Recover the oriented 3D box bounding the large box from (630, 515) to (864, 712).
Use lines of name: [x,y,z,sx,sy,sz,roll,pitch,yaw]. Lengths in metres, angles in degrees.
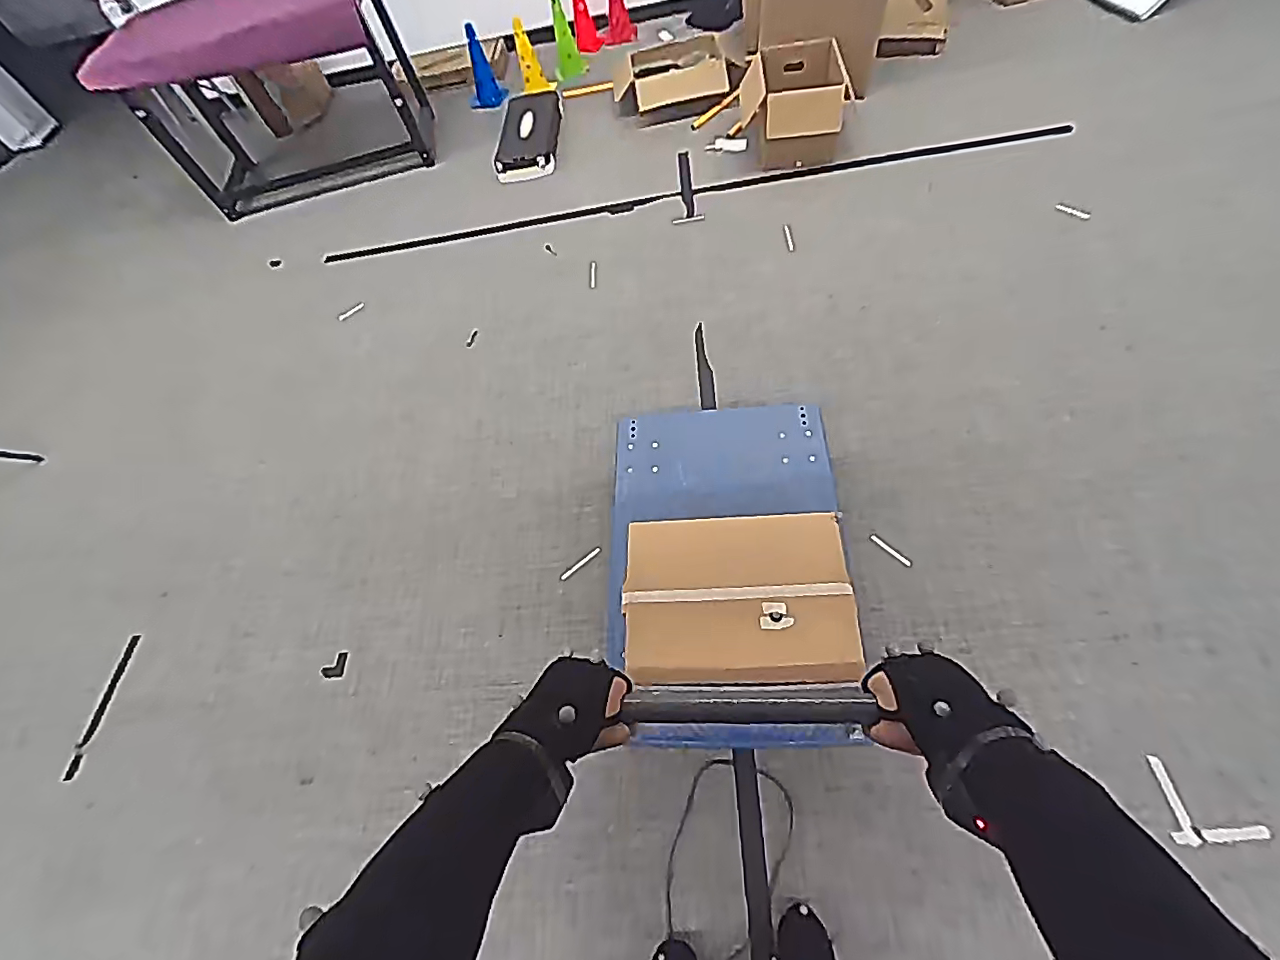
large box: [0.198,0.290,1.125,0.408,0.320,0.320,-4,60,7]
